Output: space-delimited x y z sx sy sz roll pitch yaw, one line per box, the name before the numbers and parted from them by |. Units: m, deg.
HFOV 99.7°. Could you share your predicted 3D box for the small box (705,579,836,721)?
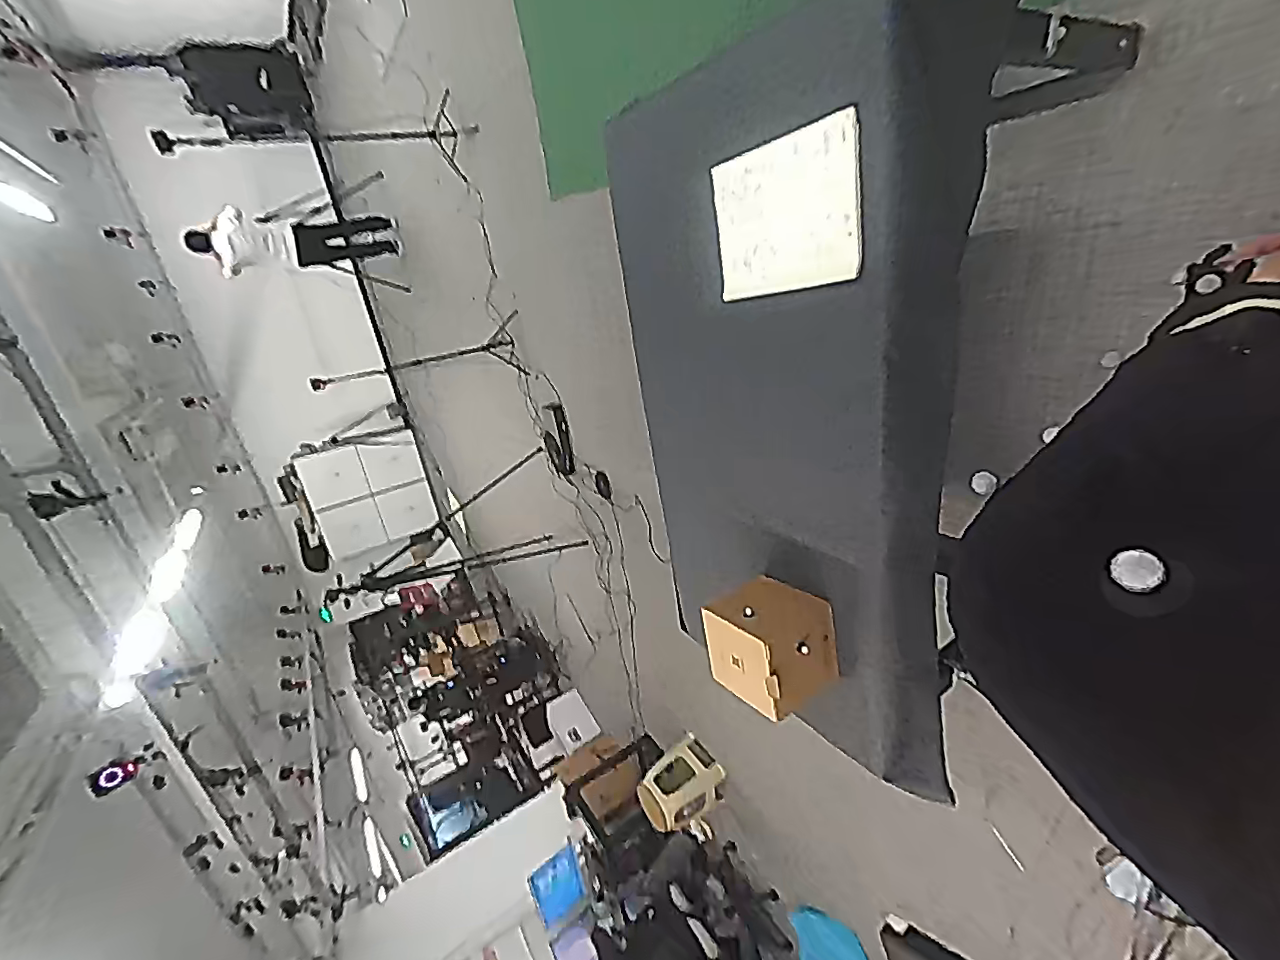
small box | 0.251 0.306 1.018 0.179 0.176 0.168 17 121 58
